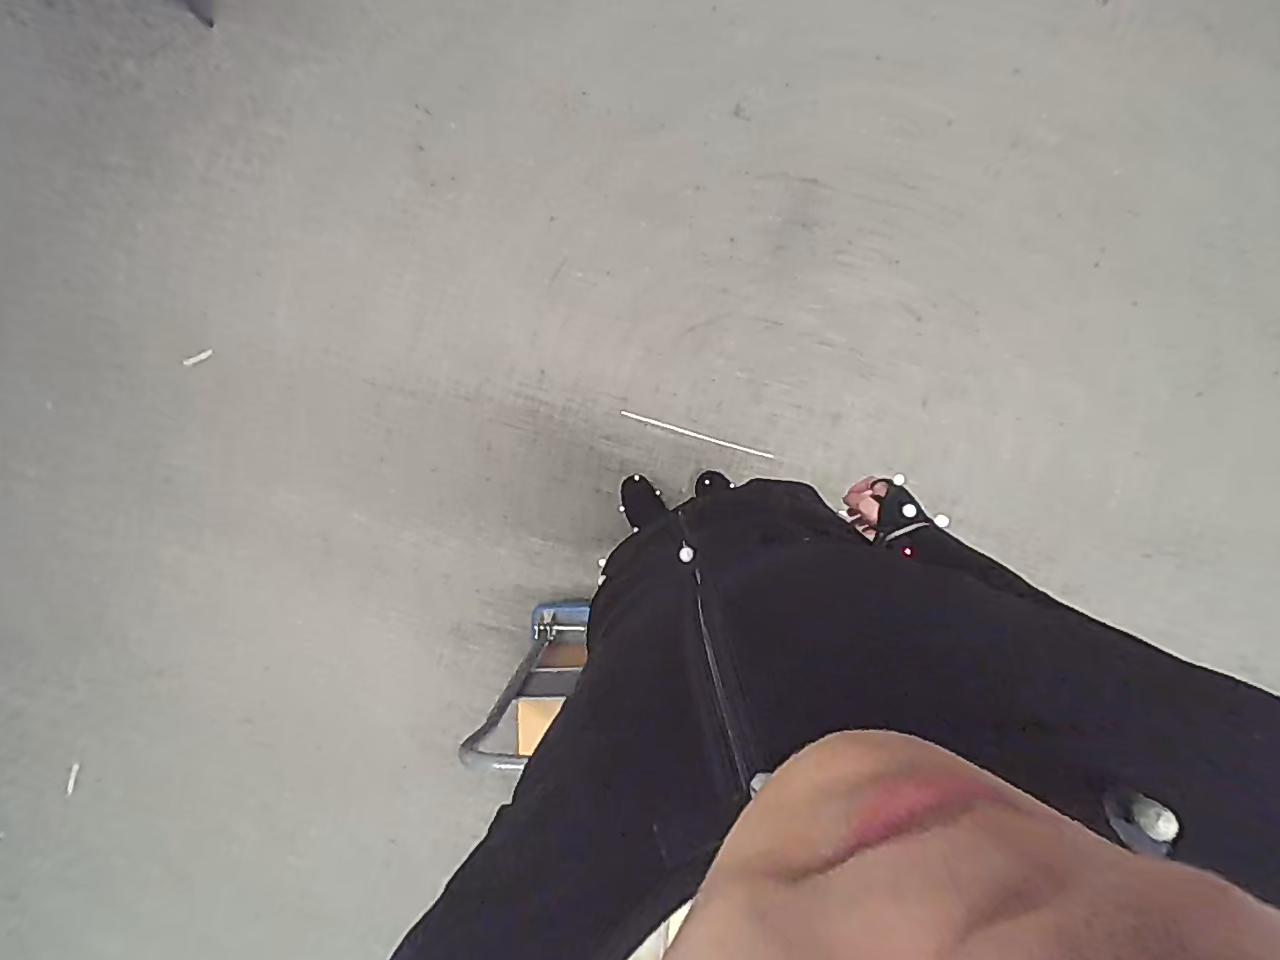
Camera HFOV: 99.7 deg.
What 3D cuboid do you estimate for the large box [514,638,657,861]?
[{"bbox_3d":[-0.118,0.642,1.348,0.320,0.320,0.408,0,93,2],"label":"large box"}]
